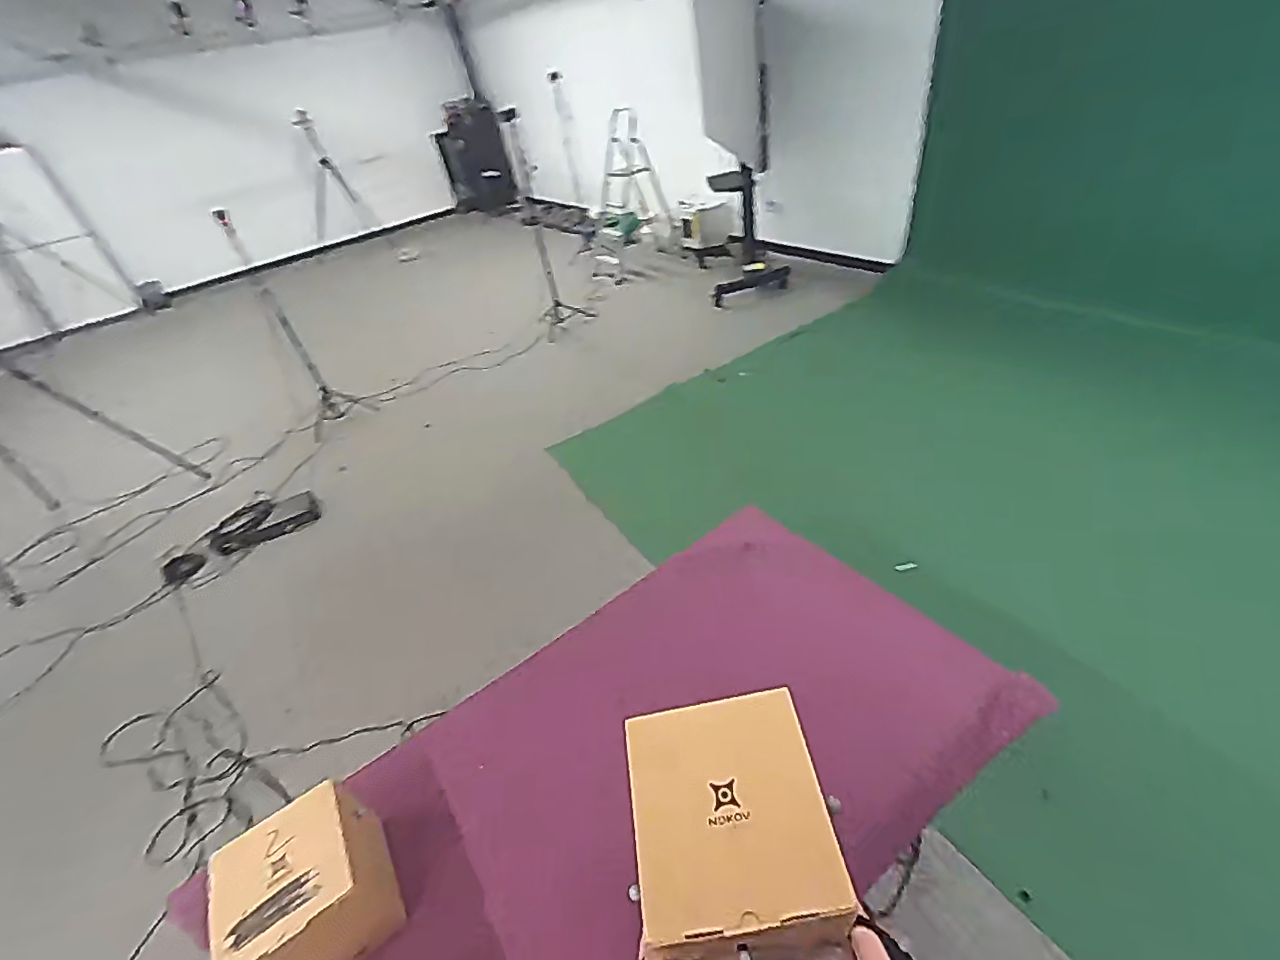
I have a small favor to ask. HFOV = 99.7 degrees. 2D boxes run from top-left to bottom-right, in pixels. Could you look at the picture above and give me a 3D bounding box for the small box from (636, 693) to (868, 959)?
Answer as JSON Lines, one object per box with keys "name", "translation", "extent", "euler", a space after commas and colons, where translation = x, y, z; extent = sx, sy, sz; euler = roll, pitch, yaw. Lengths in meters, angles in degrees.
{"name": "small box", "translation": [0.096, 0.336, 0.520], "extent": [0.168, 0.176, 0.179], "euler": [-12, 45, 3]}
